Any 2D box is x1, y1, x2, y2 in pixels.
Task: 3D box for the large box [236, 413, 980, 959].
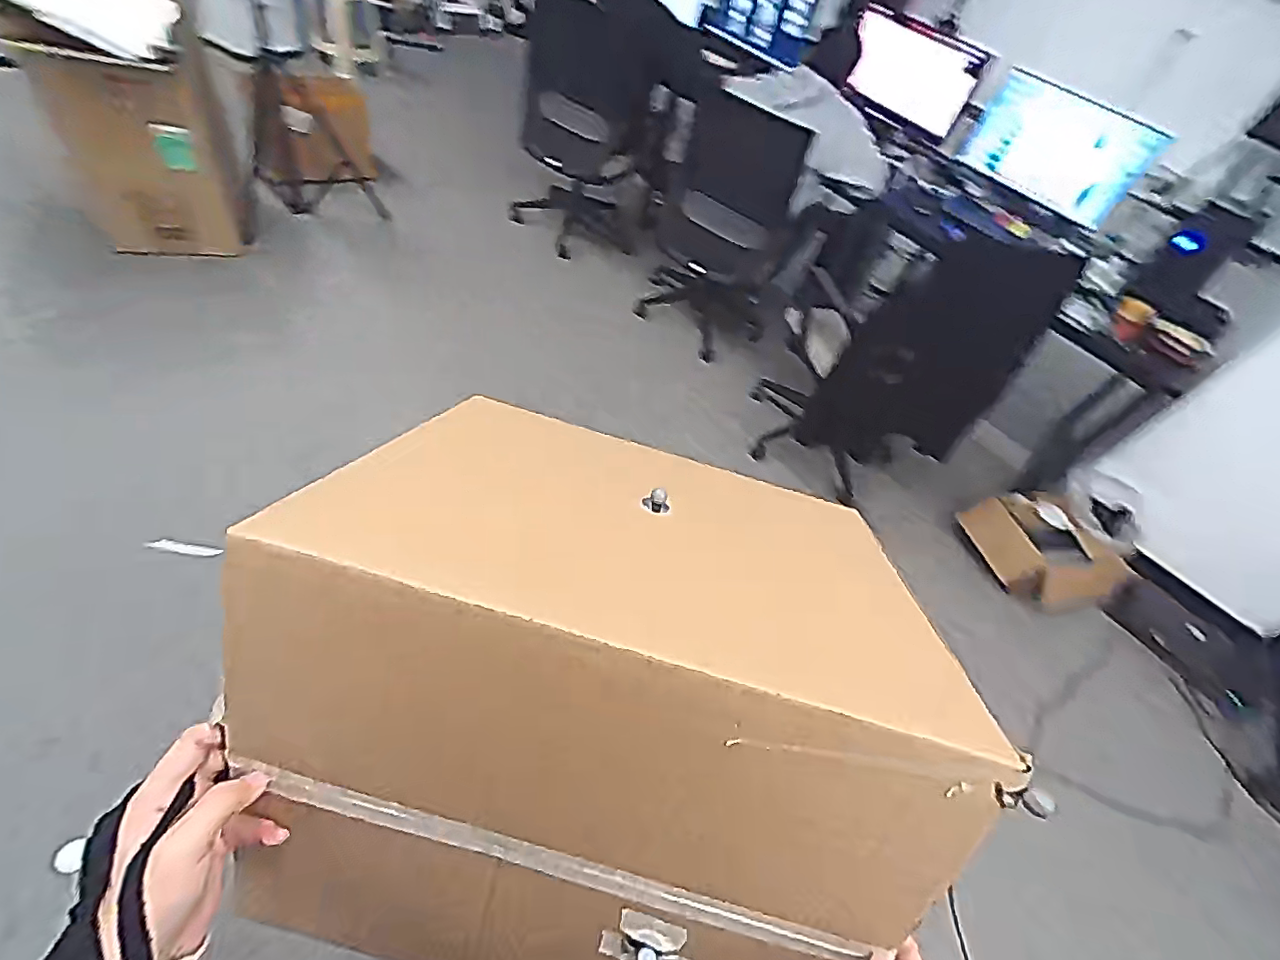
[{"bbox_3d":[-0.039,0.163,0.469,0.408,0.320,0.320,15,23,-1],"label":"large box"}]
